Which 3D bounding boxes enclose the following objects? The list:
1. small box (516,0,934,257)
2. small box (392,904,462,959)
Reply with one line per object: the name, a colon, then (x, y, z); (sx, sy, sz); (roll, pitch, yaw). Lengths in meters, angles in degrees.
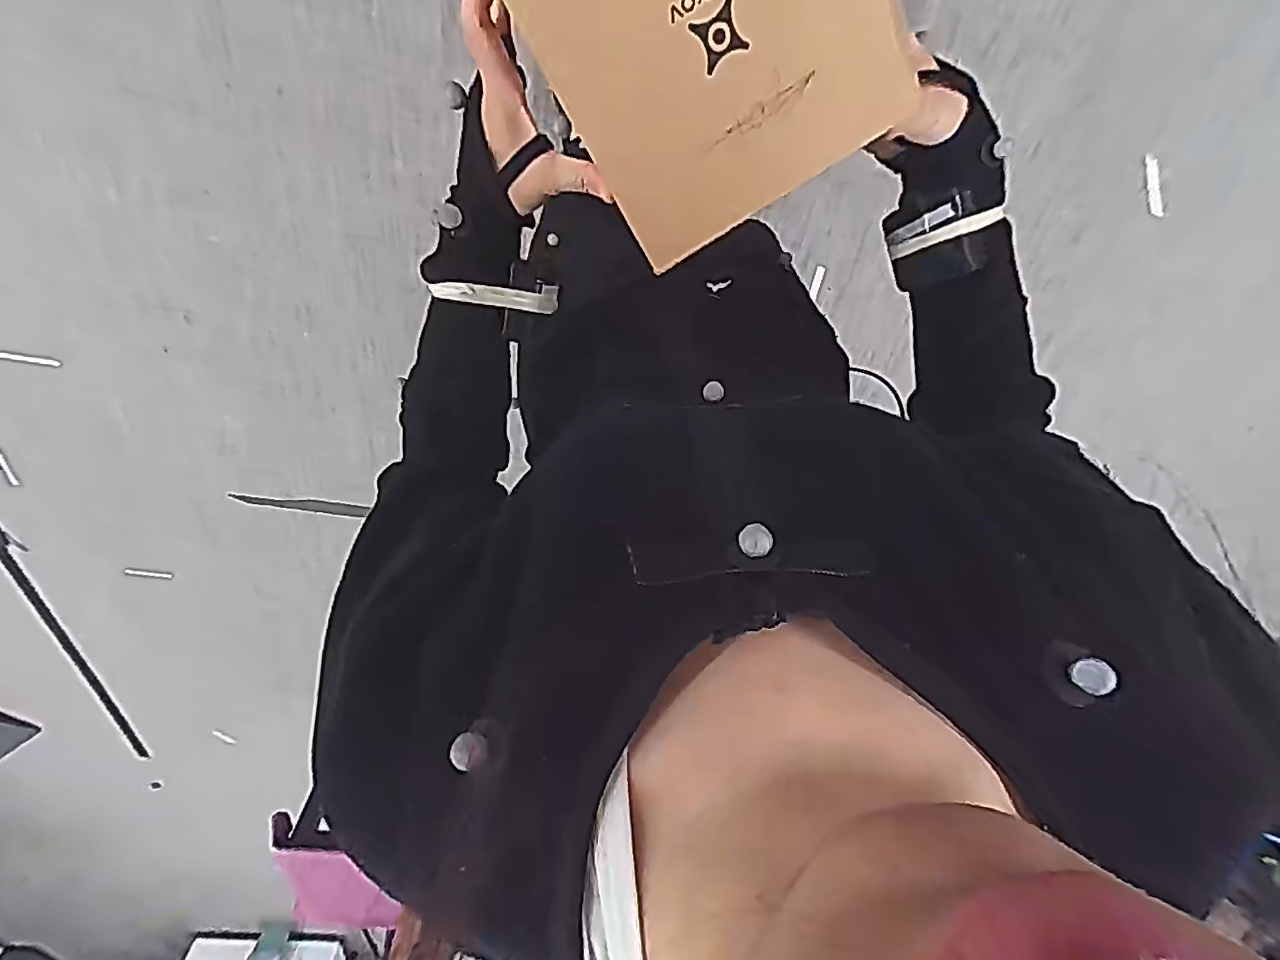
small box: (0.034, -0.270, 0.323); (0.168, 0.176, 0.179); (-29, 121, 17)
small box: (-0.695, 1.510, 1.759); (0.179, 0.176, 0.168); (10, 124, -9)
